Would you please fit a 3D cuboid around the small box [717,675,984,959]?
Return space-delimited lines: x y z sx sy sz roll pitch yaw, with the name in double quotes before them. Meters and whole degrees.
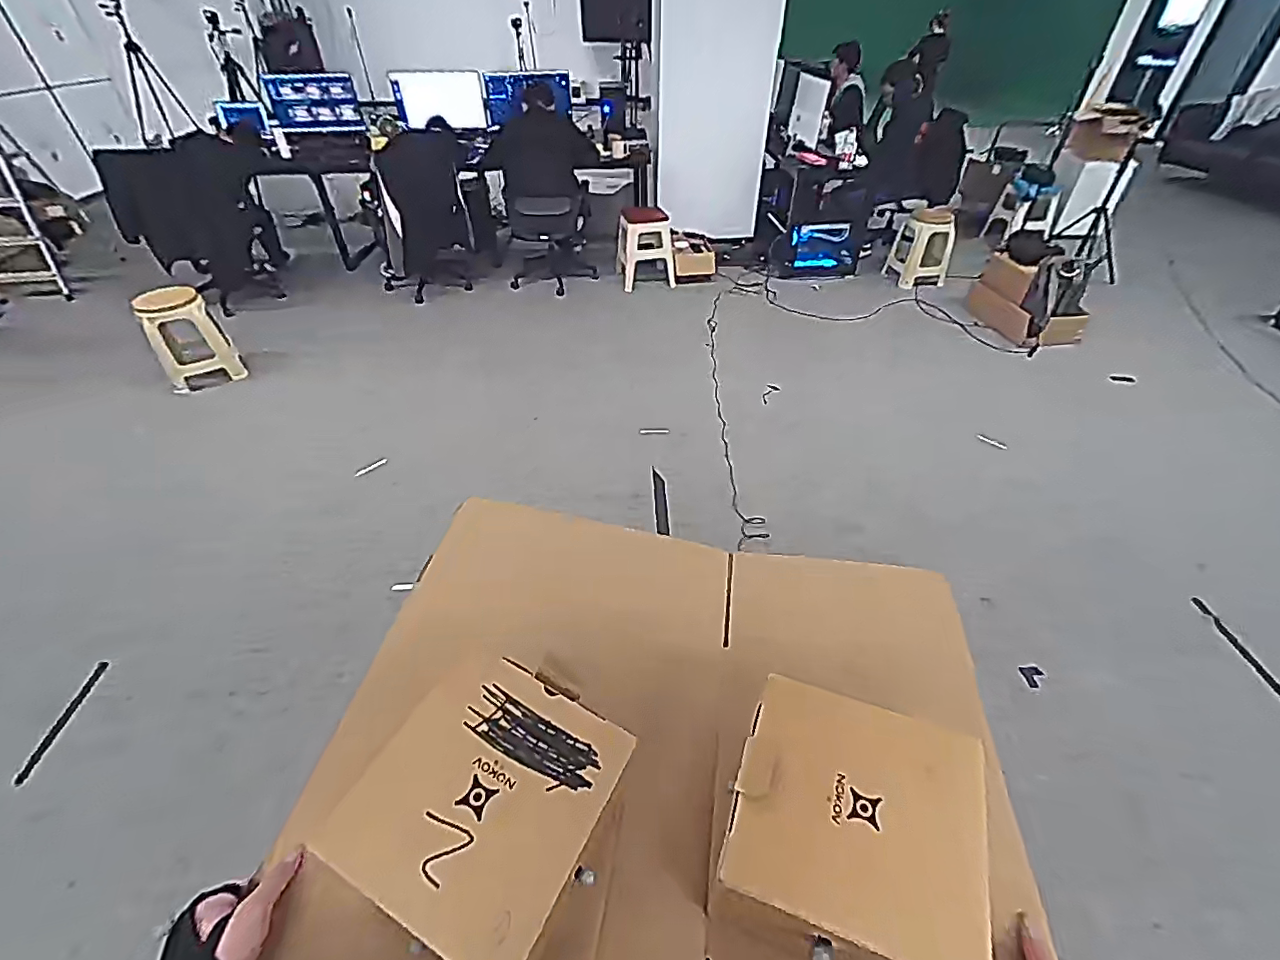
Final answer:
"small box" 0.174 0.307 0.475 0.179 0.176 0.168 12 47 18
